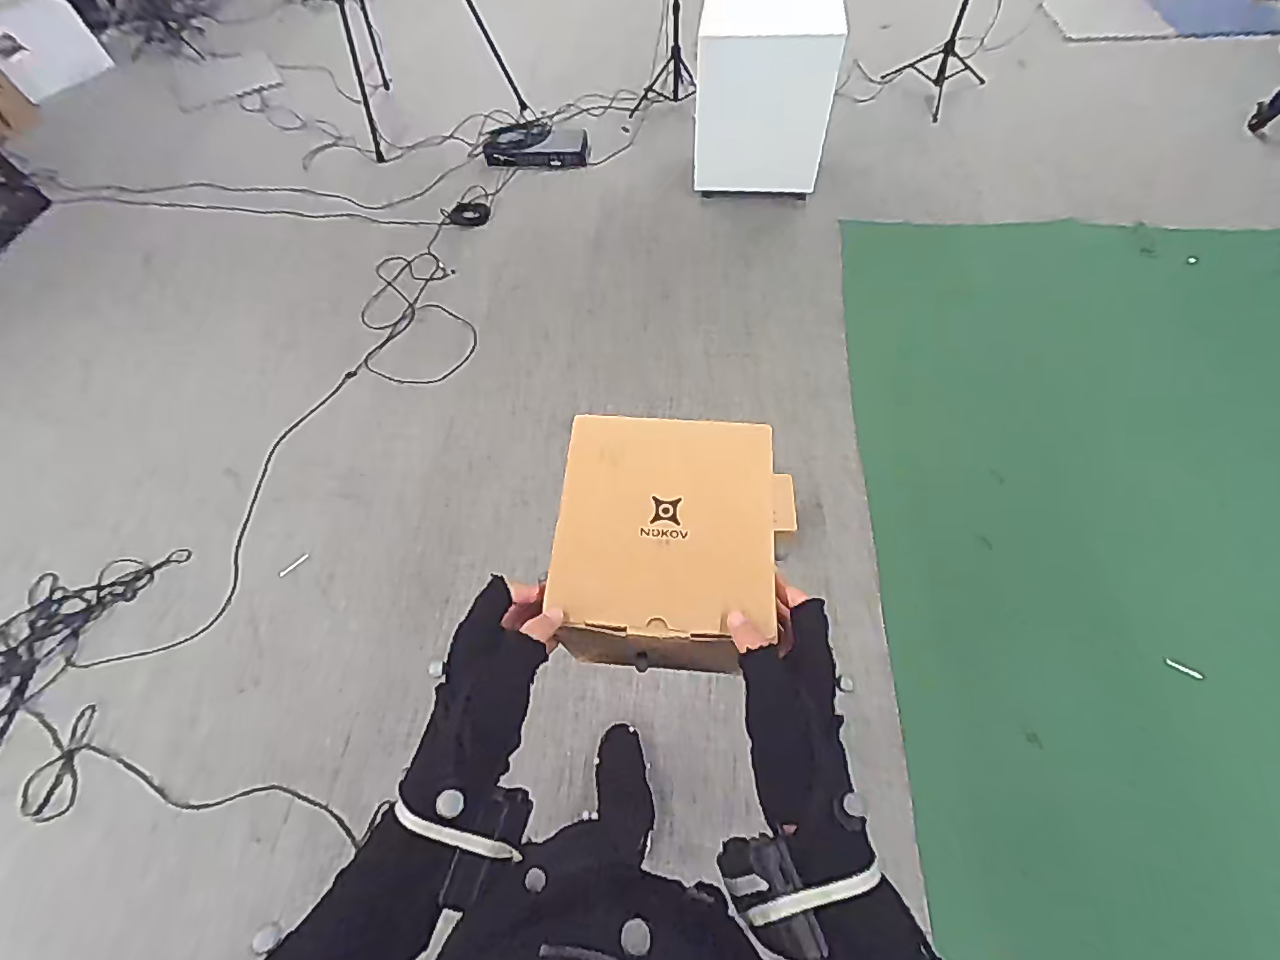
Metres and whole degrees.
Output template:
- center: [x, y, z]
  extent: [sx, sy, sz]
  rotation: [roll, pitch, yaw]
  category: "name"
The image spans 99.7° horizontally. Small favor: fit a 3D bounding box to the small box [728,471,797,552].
- center: [0.334, 0.091, 1.496]
  extent: [0.168, 0.176, 0.179]
  rotation: [1, 59, 5]
  category: "small box"
